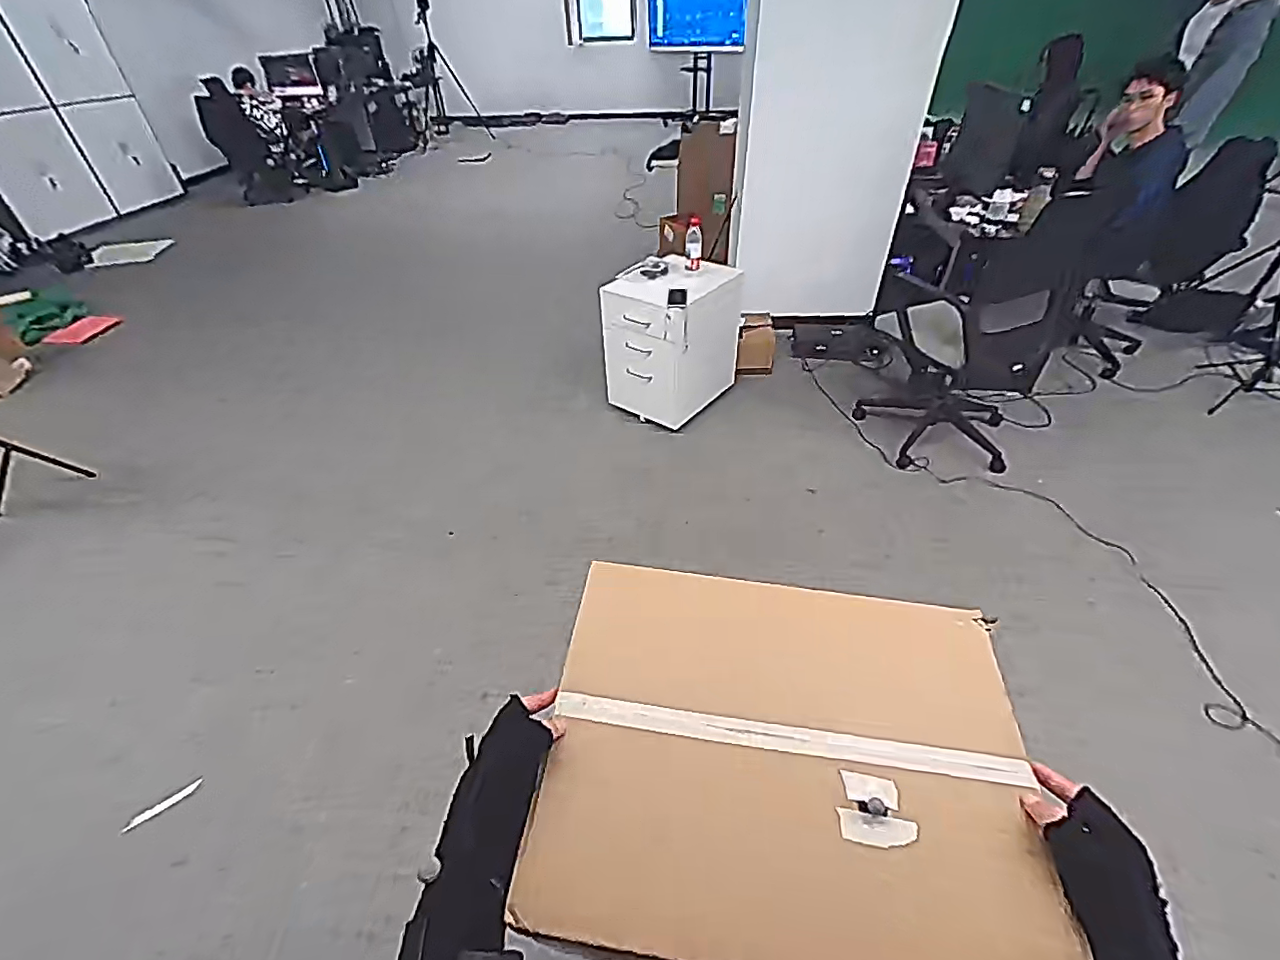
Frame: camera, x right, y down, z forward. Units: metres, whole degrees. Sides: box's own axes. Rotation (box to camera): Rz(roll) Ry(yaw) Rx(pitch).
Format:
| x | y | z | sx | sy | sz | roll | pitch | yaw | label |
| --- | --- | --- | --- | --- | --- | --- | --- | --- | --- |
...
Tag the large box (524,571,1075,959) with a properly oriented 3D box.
| x | y | z | sx | sy | sz | roll | pitch | yaw | label |
| --- | --- | --- | --- | --- | --- | --- | --- | --- | --- |
| 0.124 | 0.332 | 0.589 | 0.408 | 0.320 | 0.320 | 7 | 48 | 5 | large box |
